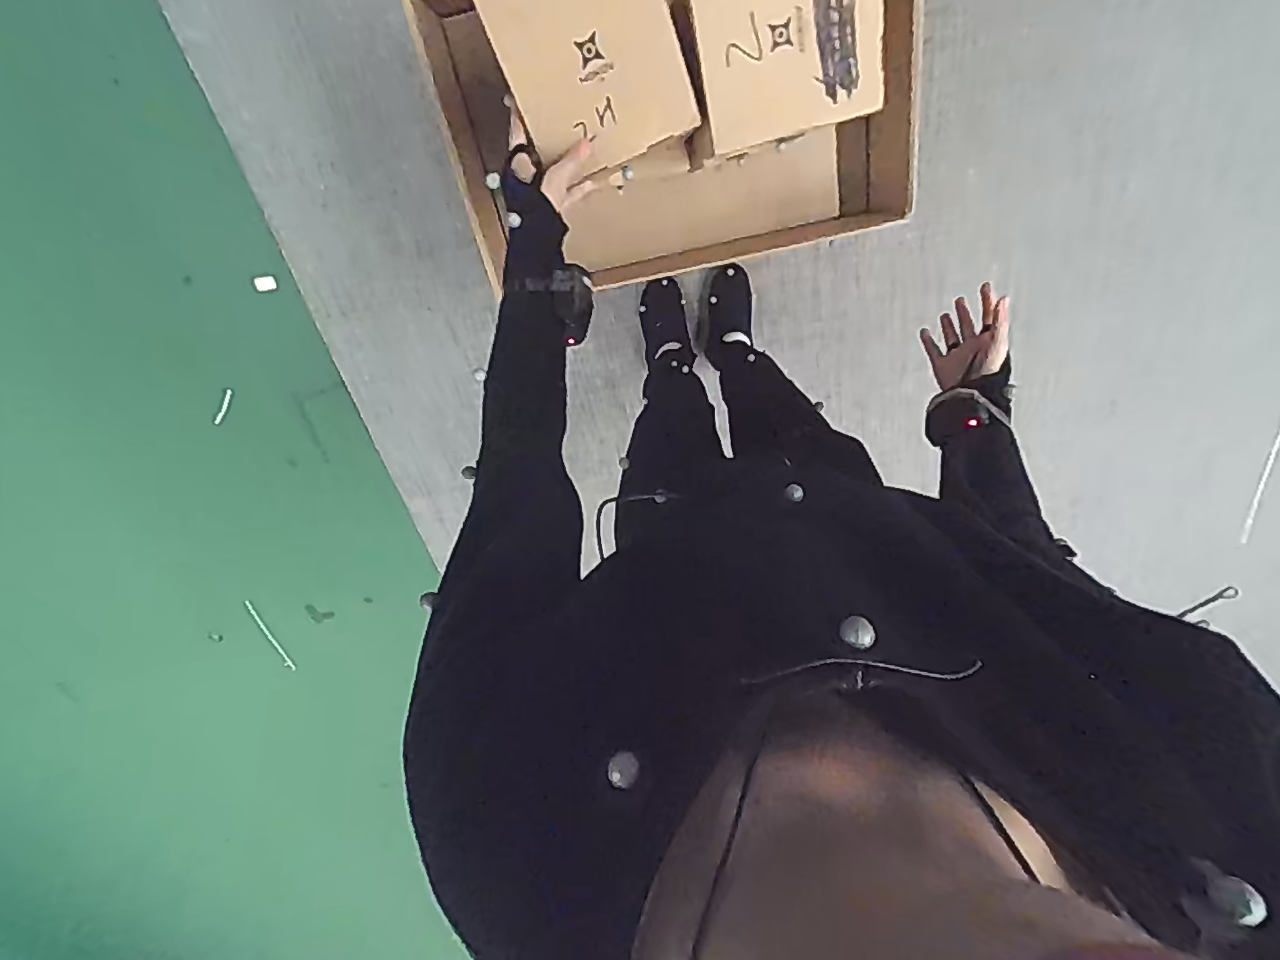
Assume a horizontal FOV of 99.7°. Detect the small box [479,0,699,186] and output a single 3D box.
[{"bbox_3d":[-0.049,-0.442,0.585,0.168,0.176,0.179,-20,116,9],"label":"small box"}]
